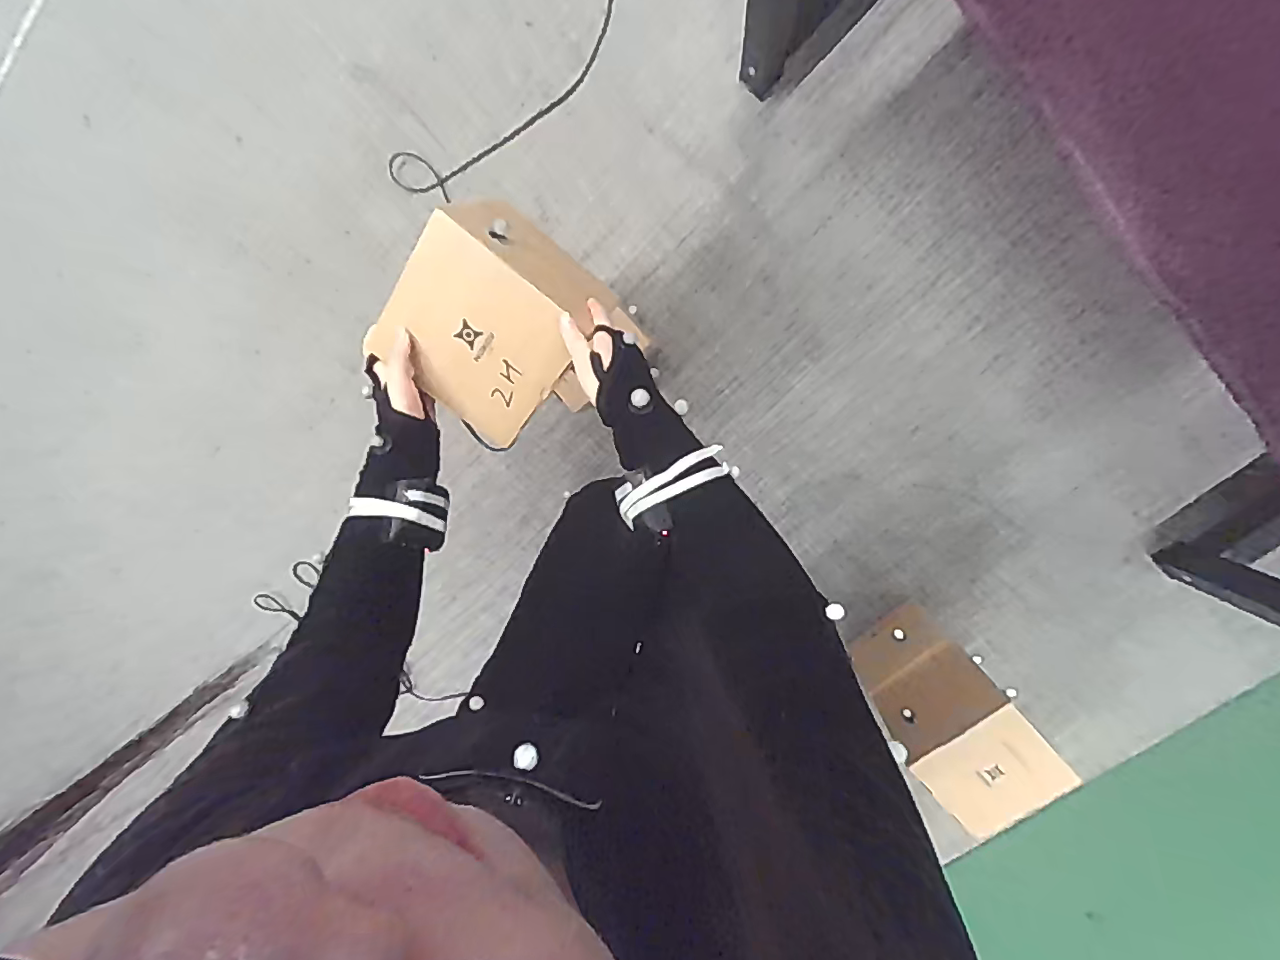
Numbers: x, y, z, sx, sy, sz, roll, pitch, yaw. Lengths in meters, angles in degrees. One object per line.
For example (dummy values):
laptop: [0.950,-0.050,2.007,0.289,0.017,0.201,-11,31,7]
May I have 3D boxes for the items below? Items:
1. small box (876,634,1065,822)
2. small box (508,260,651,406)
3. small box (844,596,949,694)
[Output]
small box: [0.507,0.387,0.867,0.179,0.176,0.168,-42,97,13]
small box: [-0.095,-0.252,0.958,0.179,0.176,0.168,-41,95,12]
small box: [0.519,0.345,1.025,0.179,0.176,0.168,45,104,-4]
